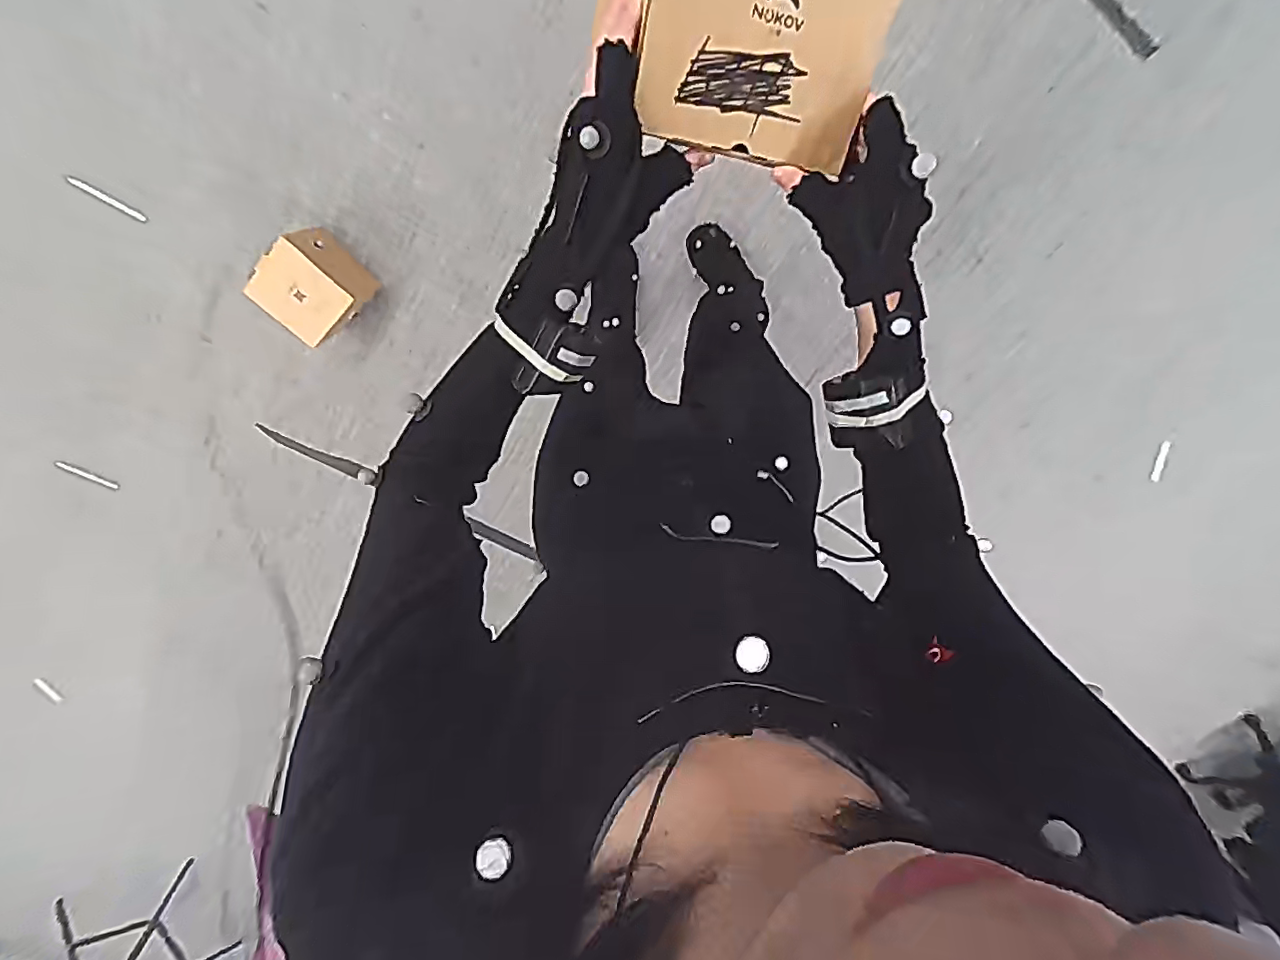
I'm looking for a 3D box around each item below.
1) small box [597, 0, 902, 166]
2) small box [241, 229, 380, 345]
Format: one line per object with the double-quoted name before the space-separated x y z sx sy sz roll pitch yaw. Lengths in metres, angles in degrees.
"small box" 0.070 -0.355 0.383 0.168 0.176 0.179 1 131 -18
"small box" -0.734 -0.443 1.224 0.168 0.176 0.179 -38 116 19
